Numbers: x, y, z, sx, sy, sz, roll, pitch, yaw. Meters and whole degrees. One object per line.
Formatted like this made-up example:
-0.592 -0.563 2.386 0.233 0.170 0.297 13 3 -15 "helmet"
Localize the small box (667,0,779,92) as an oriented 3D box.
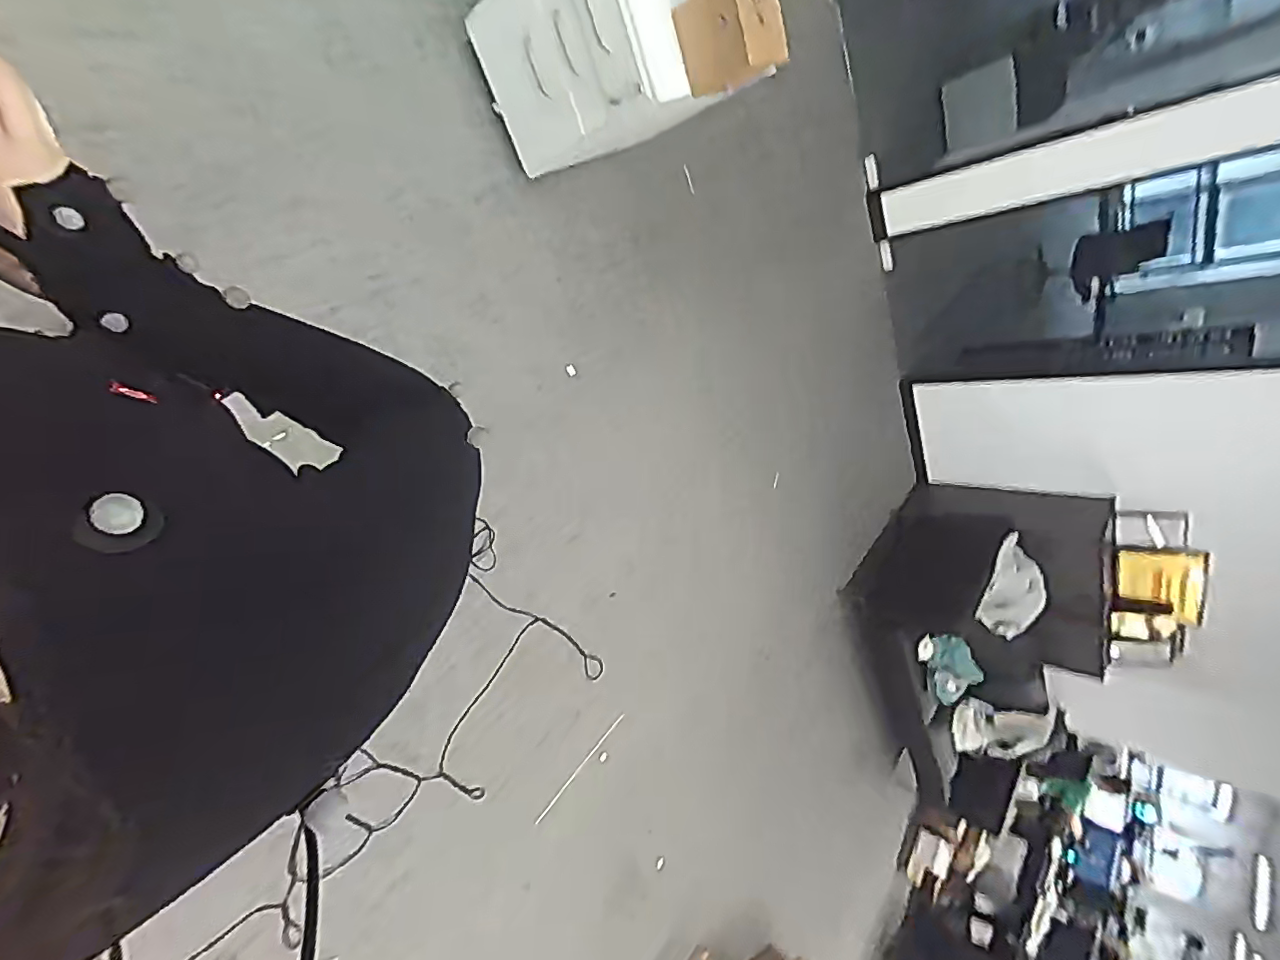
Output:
0.185 -1.021 1.224 0.168 0.176 0.179 -38 120 -33 "small box"
